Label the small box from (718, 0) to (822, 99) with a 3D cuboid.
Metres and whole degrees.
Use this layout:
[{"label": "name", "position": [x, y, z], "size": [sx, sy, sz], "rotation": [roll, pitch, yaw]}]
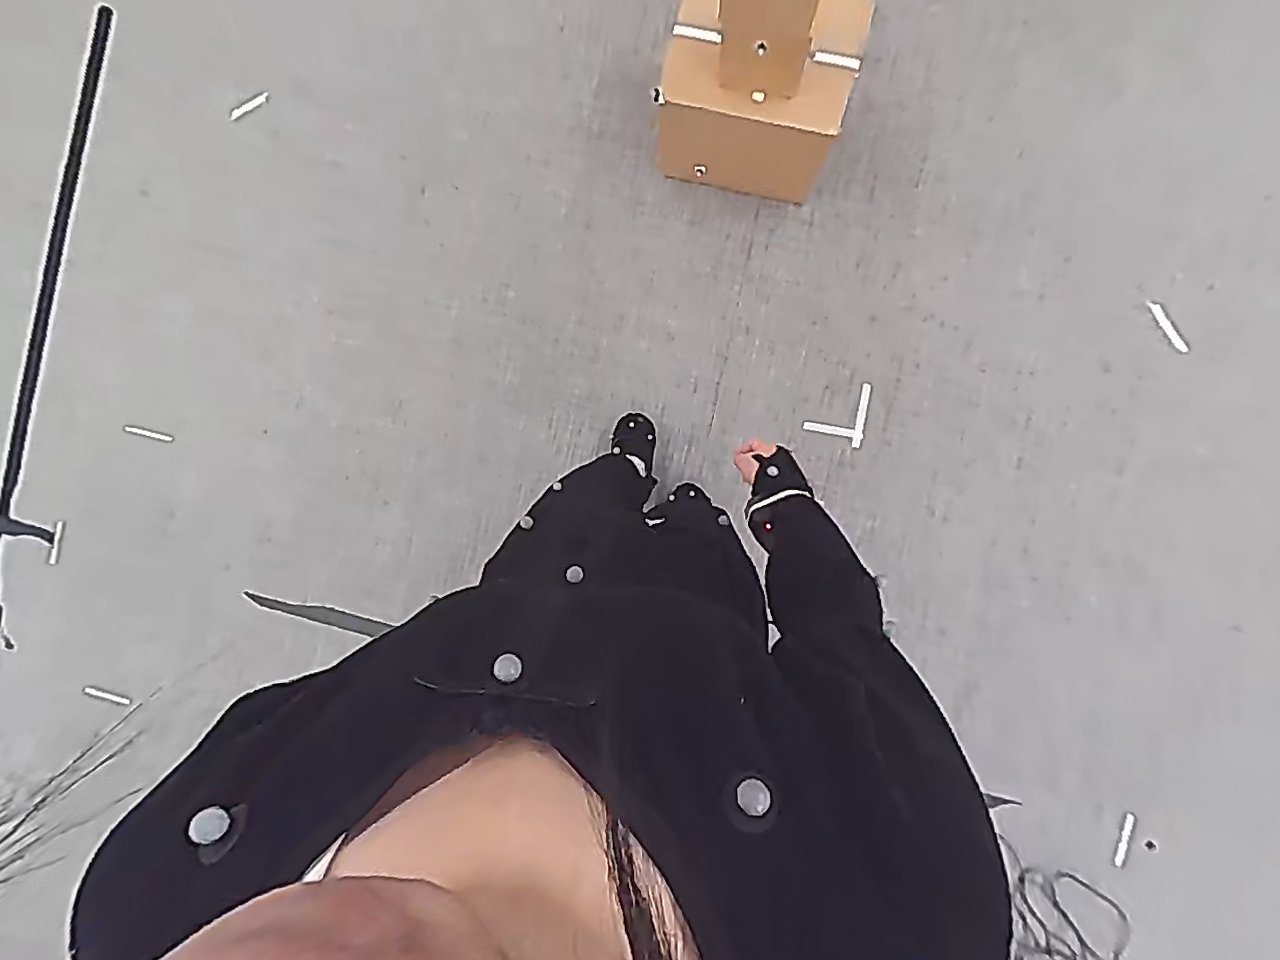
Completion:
[{"label": "small box", "position": [0.261, -0.911, 1.091], "size": [0.179, 0.176, 0.168], "rotation": [12, 92, 4]}]
